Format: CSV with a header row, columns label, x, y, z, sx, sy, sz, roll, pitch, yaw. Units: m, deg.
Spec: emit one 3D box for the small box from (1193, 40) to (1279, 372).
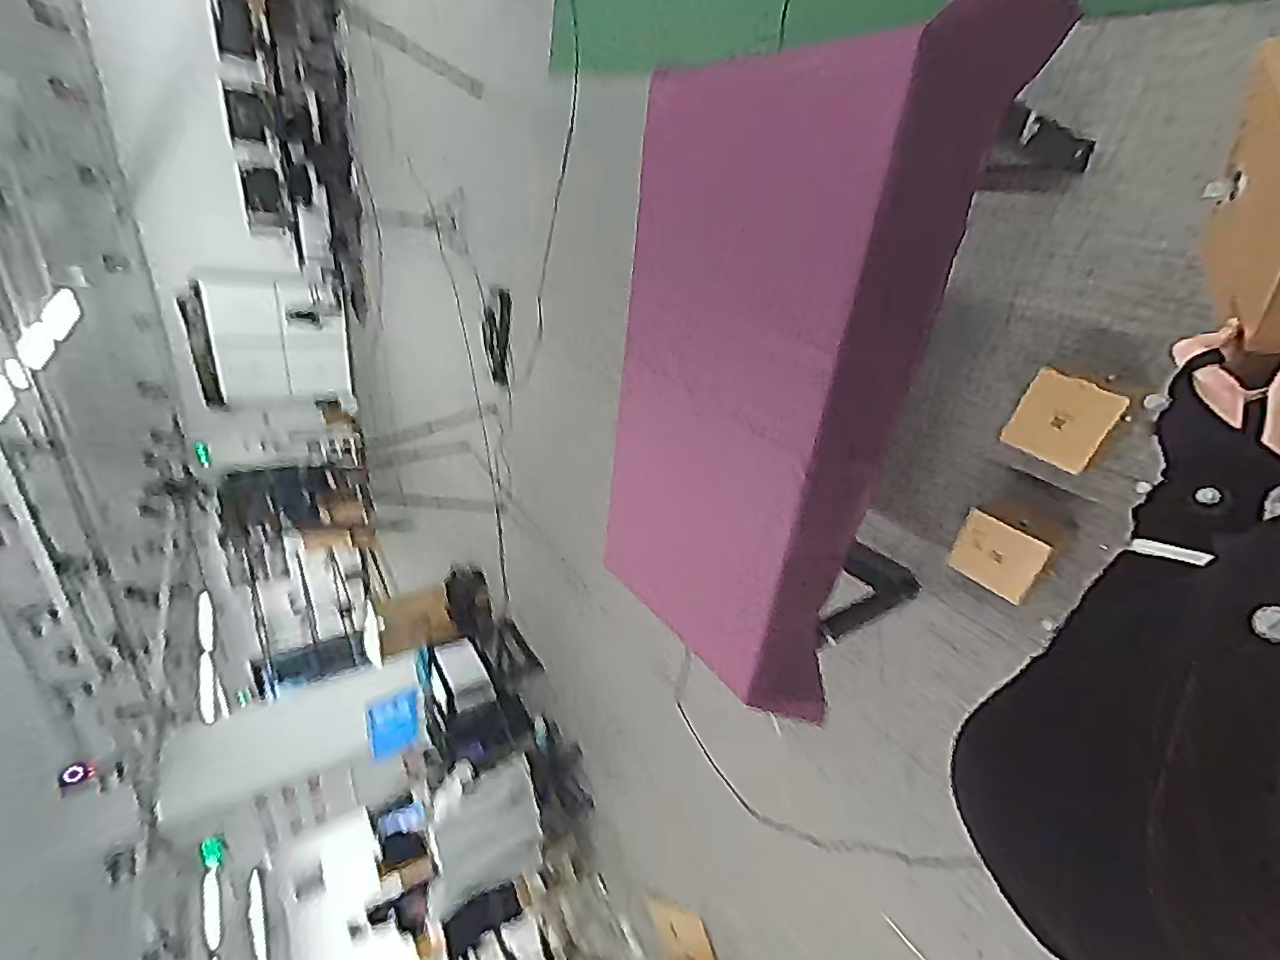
label,x,y,z,sx,sy,sz,roll,pitch,yaw
small box,0.507,-0.193,0.348,0.179,0.168,0.176,2,58,34
